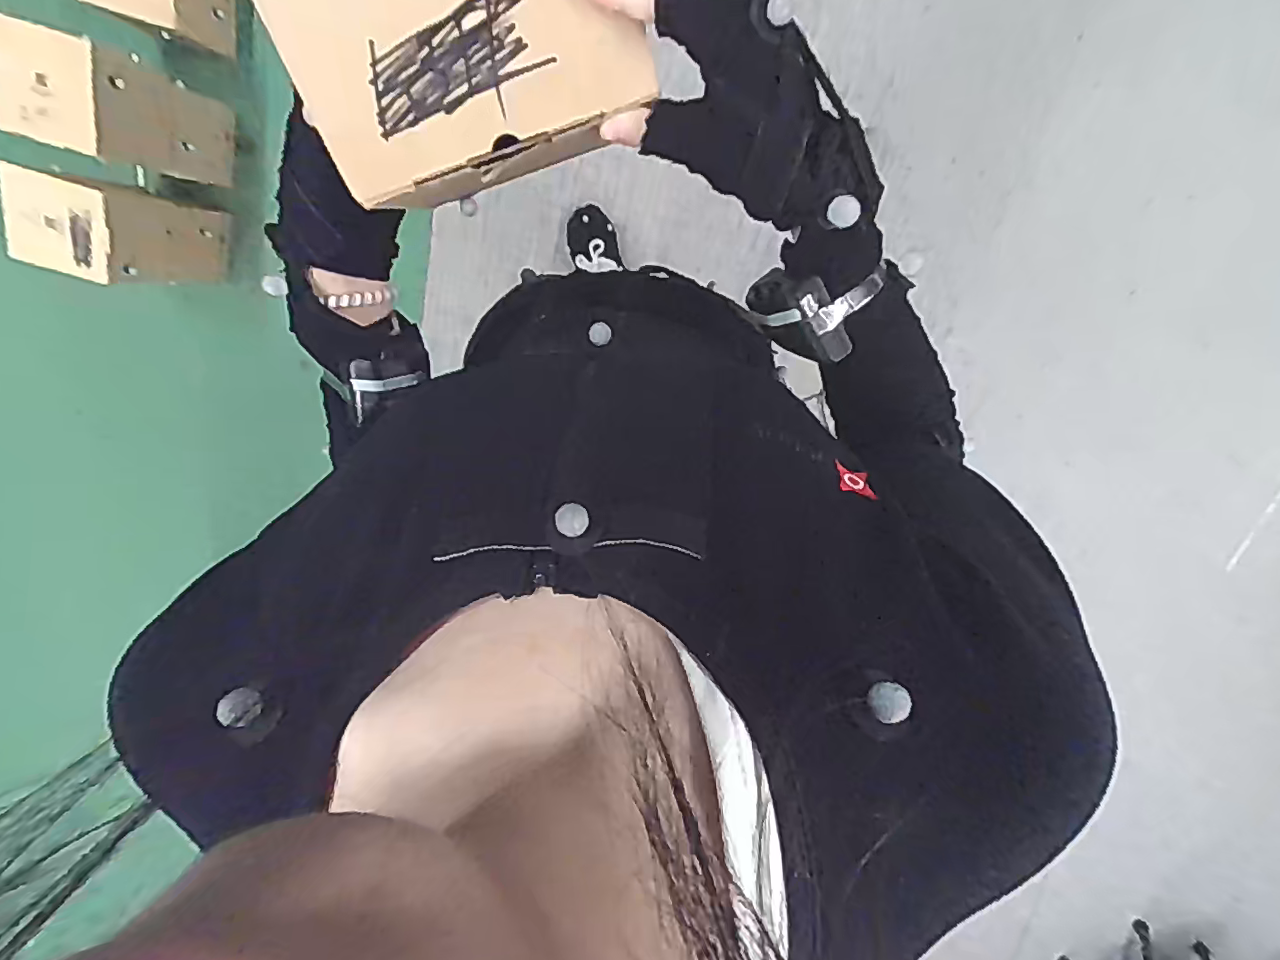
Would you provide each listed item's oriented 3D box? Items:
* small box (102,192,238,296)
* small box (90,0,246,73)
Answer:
[{"bbox_3d":[-1.063,-0.535,1.236,0.179,0.176,0.168,17,109,-8],"label":"small box"},{"bbox_3d":[-0.934,-0.954,1.078,0.179,0.176,0.168,13,110,-6],"label":"small box"}]
